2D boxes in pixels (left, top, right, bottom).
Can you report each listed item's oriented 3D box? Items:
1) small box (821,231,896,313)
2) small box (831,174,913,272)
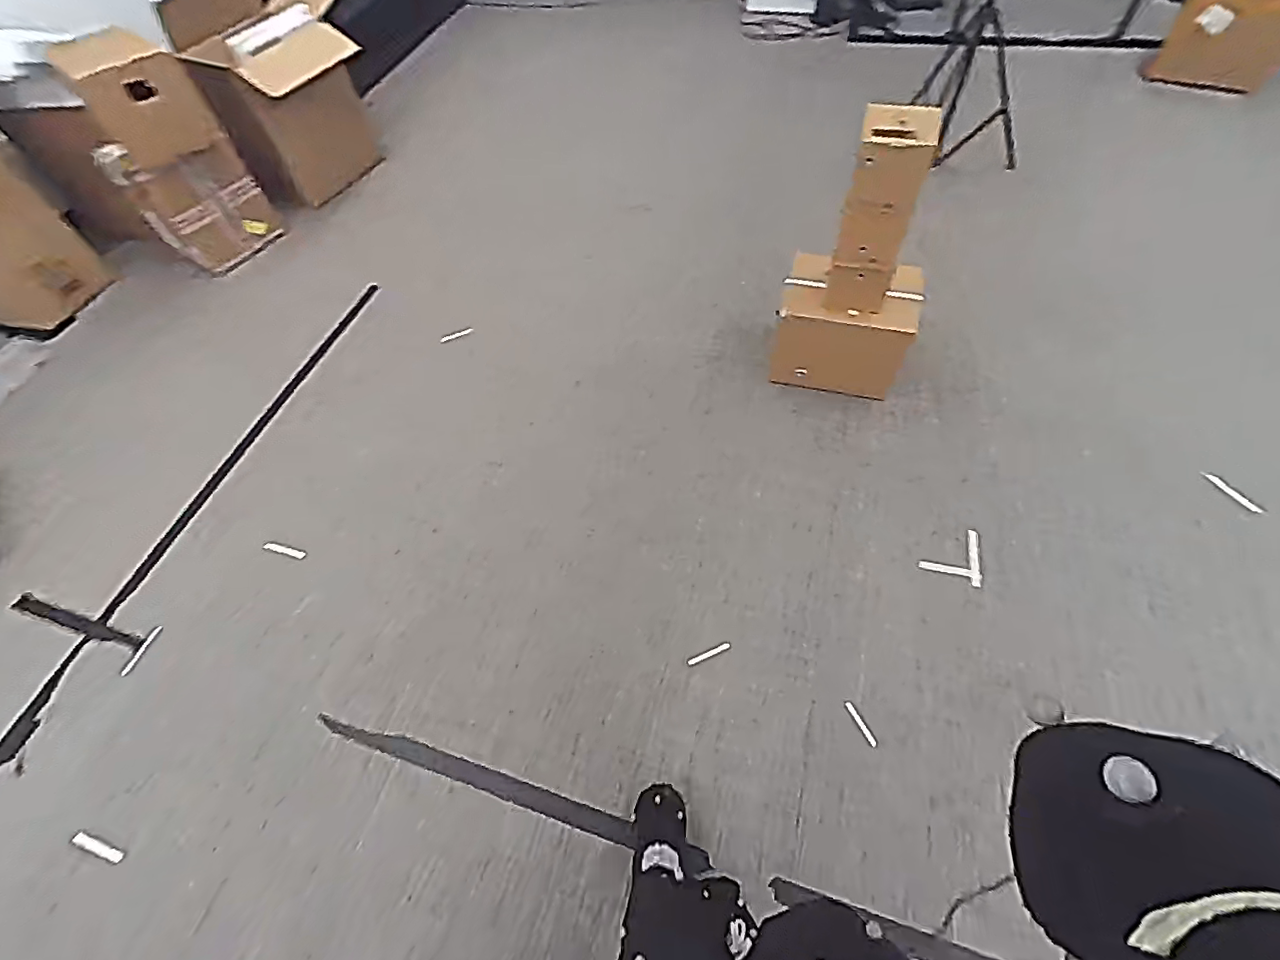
[{"bbox_3d":[0.651,-0.623,1.619,0.179,0.176,0.168,11,61,11],"label":"small box"},{"bbox_3d":[0.630,-0.702,1.479,0.168,0.176,0.179,11,61,13],"label":"small box"}]
